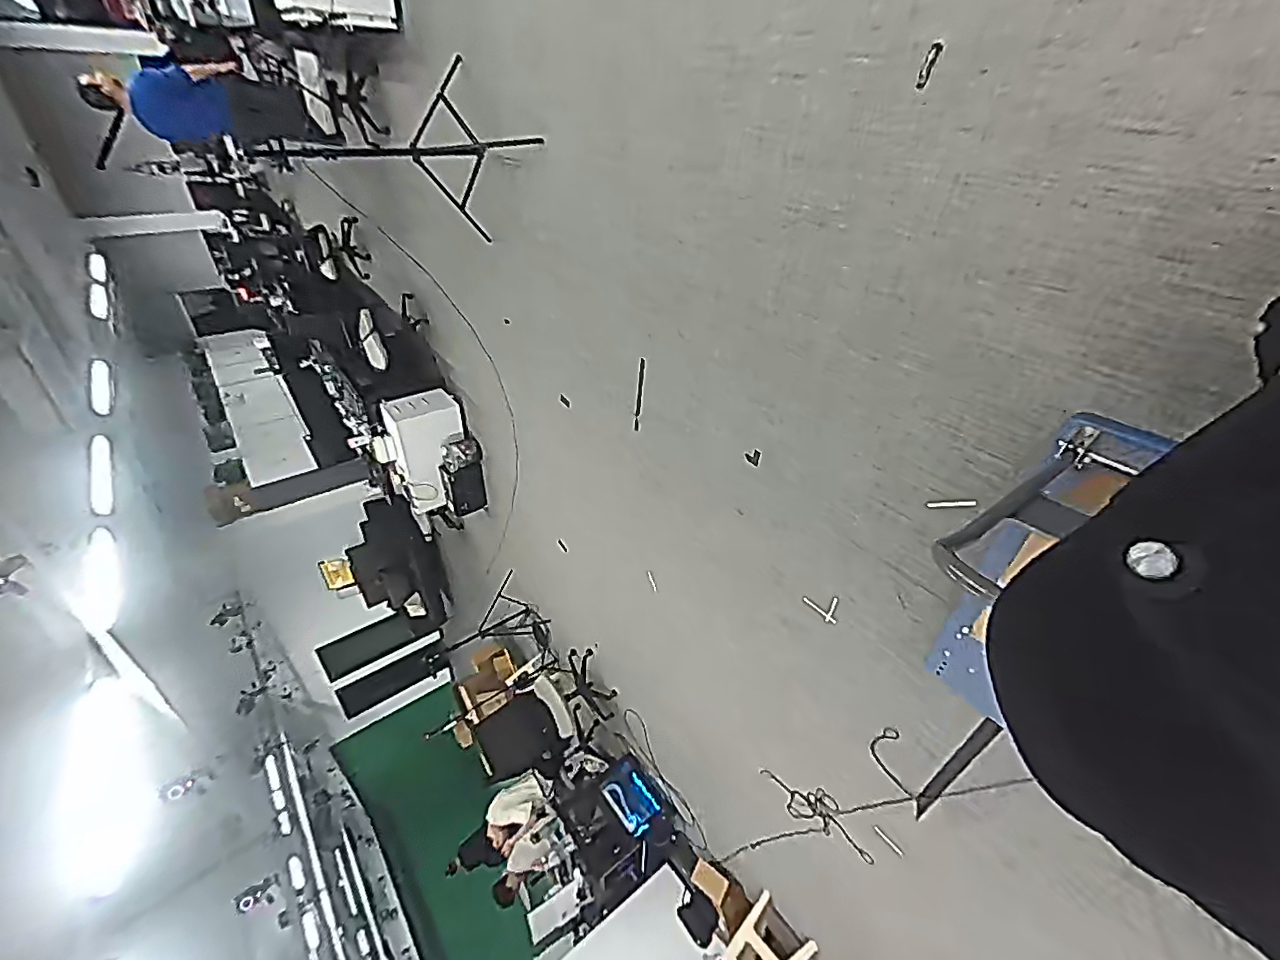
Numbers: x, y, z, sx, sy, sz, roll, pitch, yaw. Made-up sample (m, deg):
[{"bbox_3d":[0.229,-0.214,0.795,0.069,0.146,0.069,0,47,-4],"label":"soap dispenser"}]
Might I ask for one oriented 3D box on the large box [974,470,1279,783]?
[{"bbox_3d":[0.949,0.239,1.003,0.408,0.320,0.320,40,139,39],"label":"large box"}]
